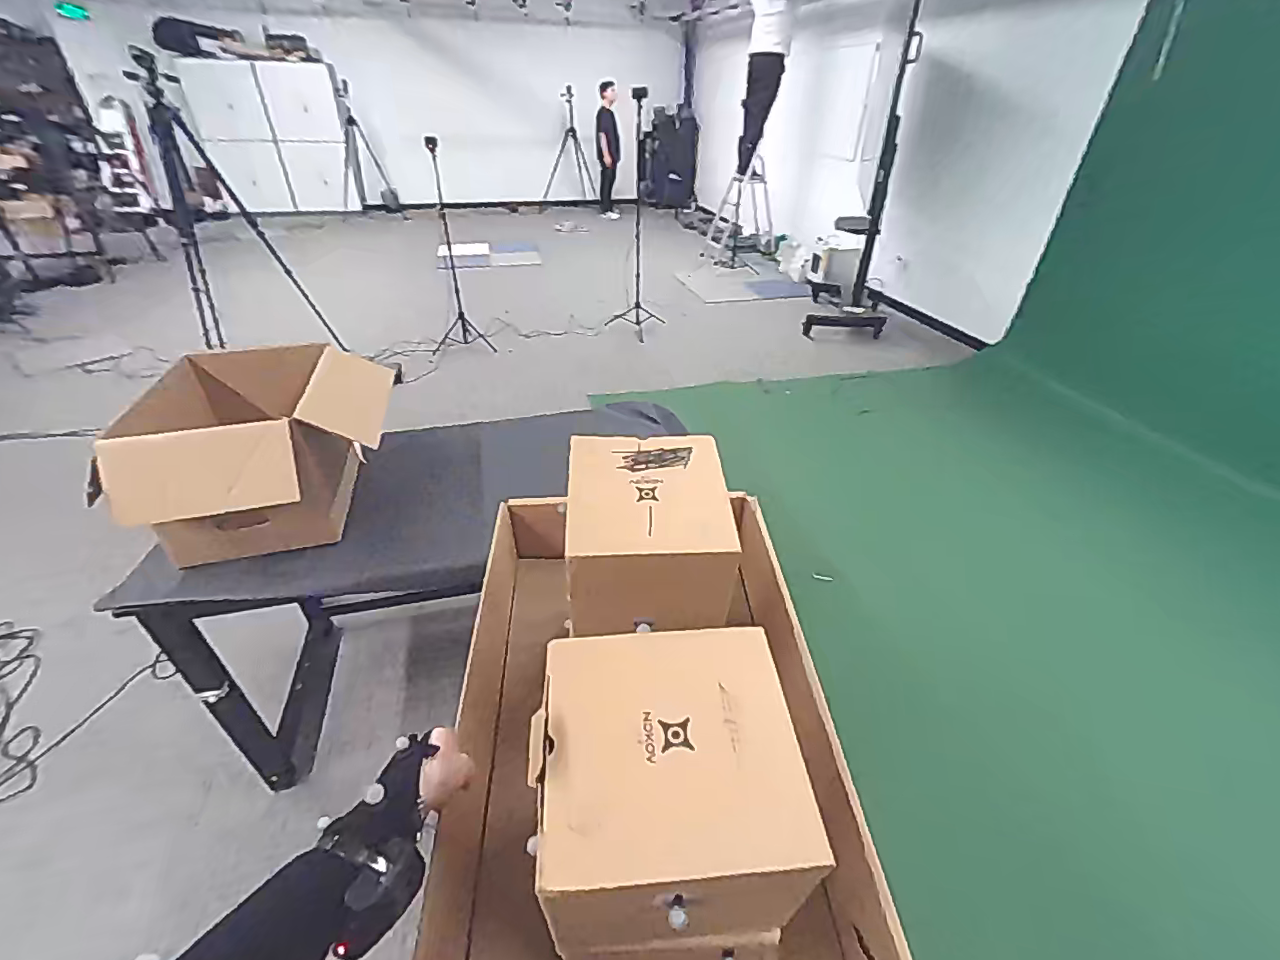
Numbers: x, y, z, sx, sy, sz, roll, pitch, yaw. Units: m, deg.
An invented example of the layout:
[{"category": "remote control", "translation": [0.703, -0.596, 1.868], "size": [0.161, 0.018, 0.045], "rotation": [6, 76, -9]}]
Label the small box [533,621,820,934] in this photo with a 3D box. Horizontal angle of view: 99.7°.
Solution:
[{"category": "small box", "translation": [0.016, 0.234, 0.430], "size": [0.179, 0.176, 0.168], "rotation": [-2, 41, -6]}]

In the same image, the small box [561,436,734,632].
[{"category": "small box", "translation": [0.001, 0.067, 0.618], "size": [0.168, 0.176, 0.179], "rotation": [-1, 44, -4]}]
